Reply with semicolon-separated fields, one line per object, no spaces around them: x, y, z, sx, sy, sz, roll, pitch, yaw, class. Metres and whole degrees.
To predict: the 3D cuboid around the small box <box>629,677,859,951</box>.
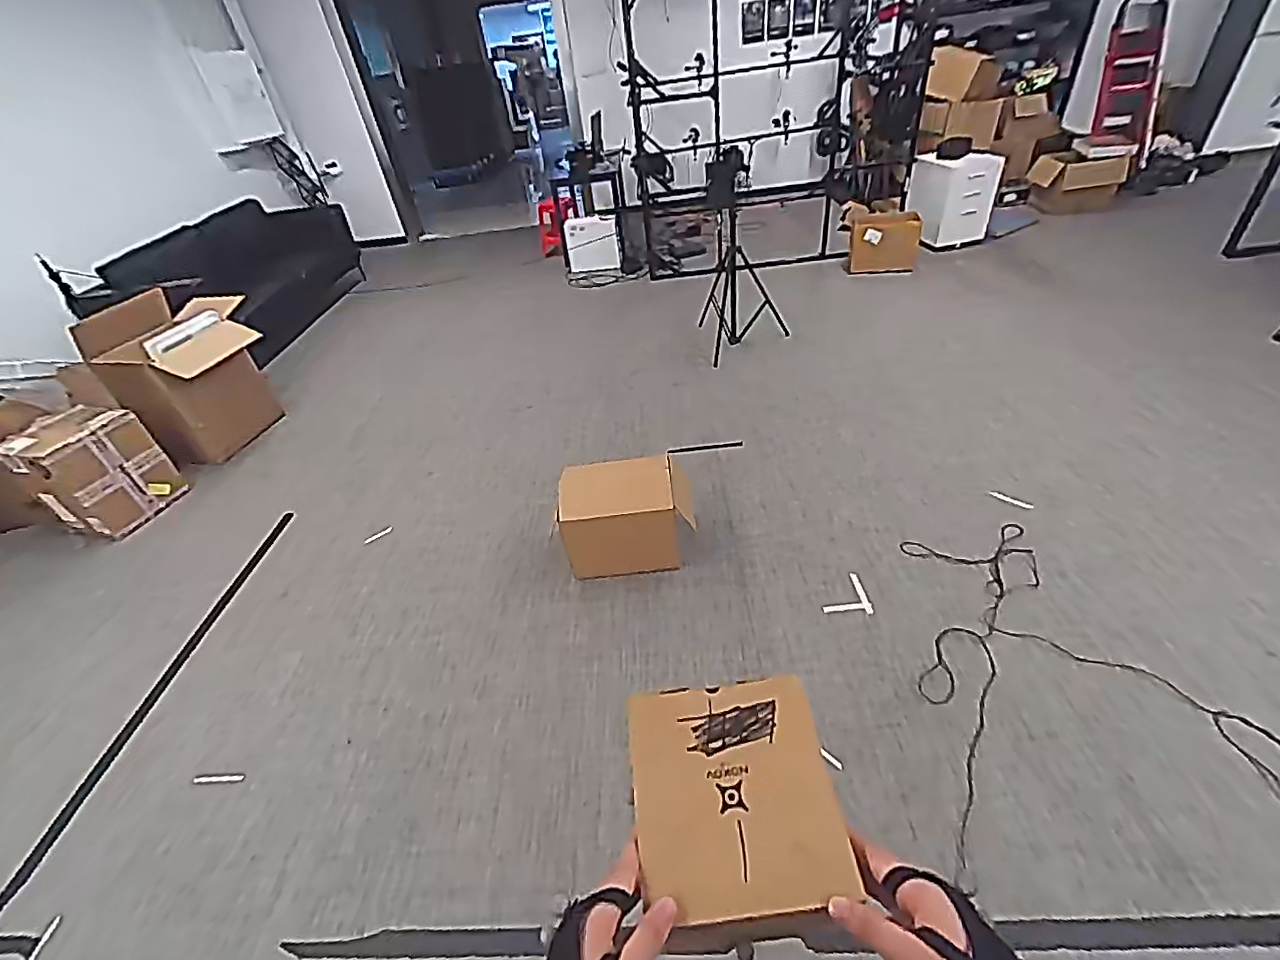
0.081;0.315;0.512;0.168;0.176;0.179;-7;44;0;small box
